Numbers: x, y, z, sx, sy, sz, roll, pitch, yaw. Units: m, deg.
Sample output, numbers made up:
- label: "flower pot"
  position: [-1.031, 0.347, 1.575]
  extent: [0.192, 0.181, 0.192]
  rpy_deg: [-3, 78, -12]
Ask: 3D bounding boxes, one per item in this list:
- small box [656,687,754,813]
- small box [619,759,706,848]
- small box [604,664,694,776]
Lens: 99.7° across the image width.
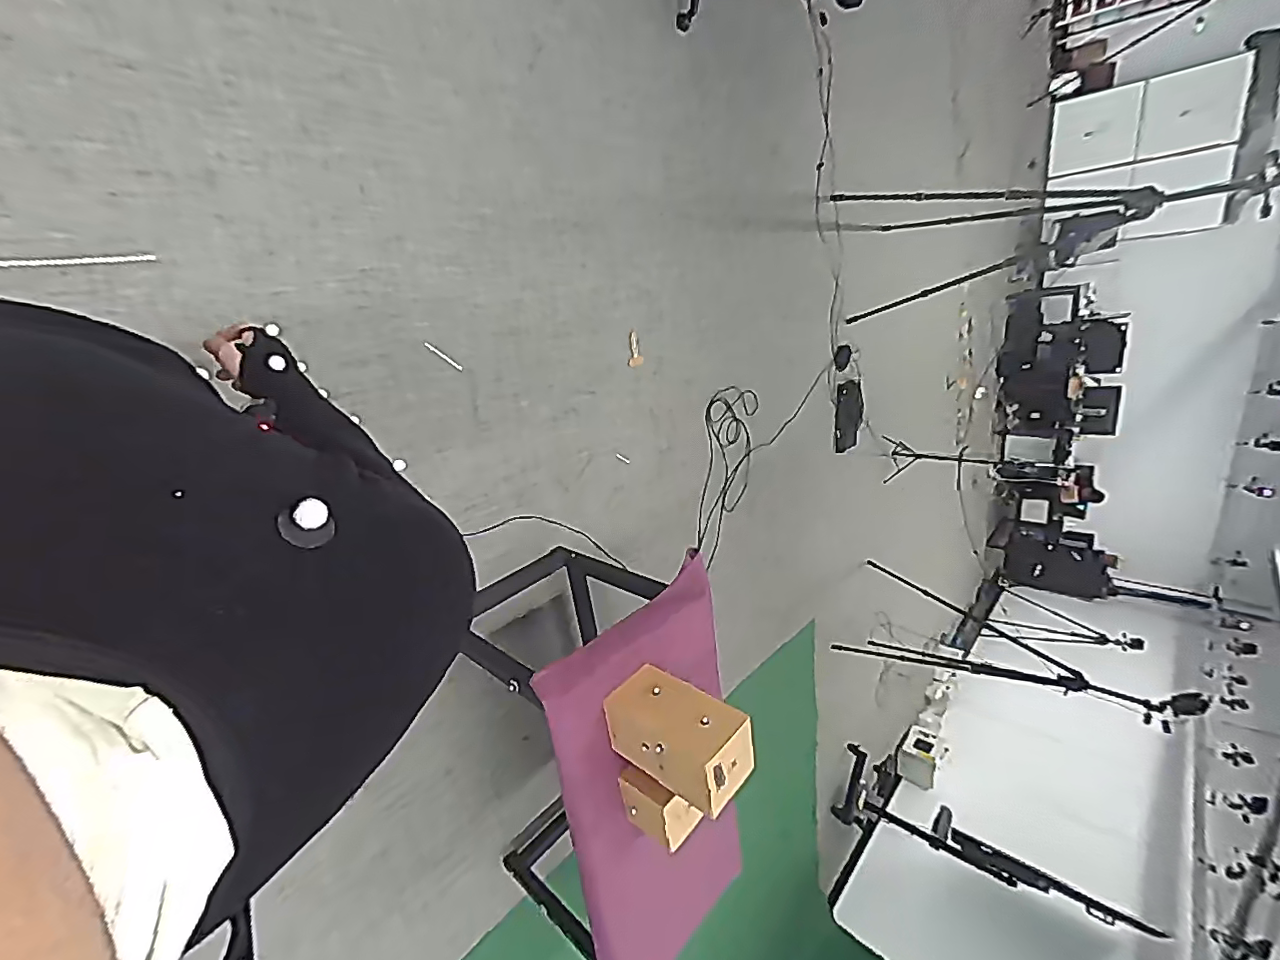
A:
- label: "small box"
  position: [0.151, 0.637, 1.296]
  extent: [0.179, 0.176, 0.168]
  rpy_deg: [-27, 117, -41]
- label: "small box"
  position: [0.068, 0.848, 1.492]
  extent: [0.179, 0.176, 0.168]
  rpy_deg: [-27, 116, -41]
- label: "small box"
  position: [0.031, 0.613, 1.407]
  extent: [0.179, 0.176, 0.168]
  rpy_deg: [-27, 117, -41]
